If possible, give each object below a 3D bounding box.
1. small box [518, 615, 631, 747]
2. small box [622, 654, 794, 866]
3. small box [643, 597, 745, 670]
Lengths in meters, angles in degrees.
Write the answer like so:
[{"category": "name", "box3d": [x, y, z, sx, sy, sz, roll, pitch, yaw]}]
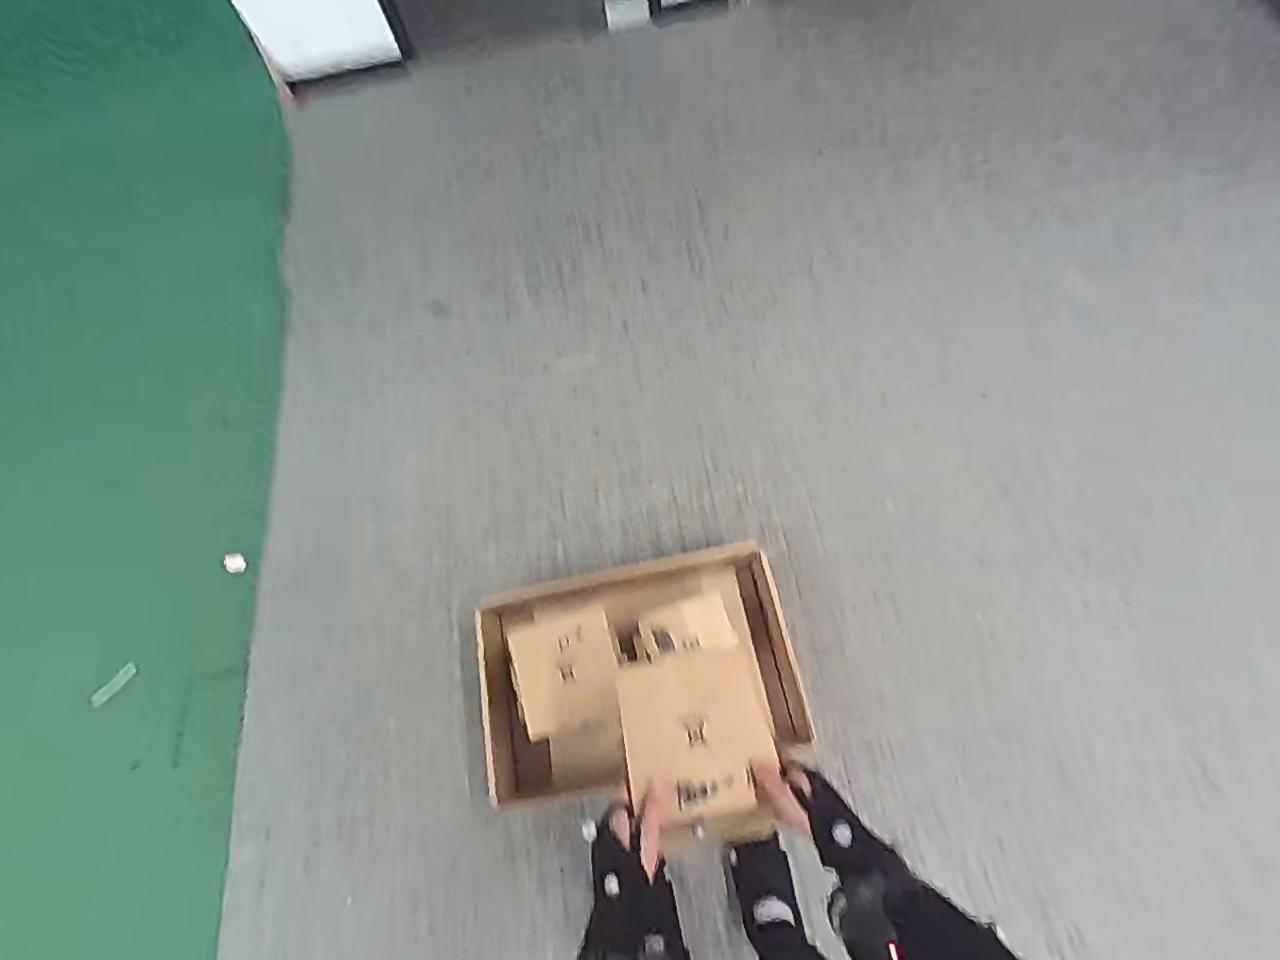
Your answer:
[{"category": "small box", "box3d": [-0.104, 0.355, 0.971, 0.168, 0.176, 0.179, -16, 70, -3]}, {"category": "small box", "box3d": [0.074, 0.346, 0.670, 0.168, 0.176, 0.179, -10, 46, -3]}, {"category": "small box", "box3d": [0.118, 0.359, 1.120, 0.179, 0.176, 0.168, -18, 69, -1]}]
